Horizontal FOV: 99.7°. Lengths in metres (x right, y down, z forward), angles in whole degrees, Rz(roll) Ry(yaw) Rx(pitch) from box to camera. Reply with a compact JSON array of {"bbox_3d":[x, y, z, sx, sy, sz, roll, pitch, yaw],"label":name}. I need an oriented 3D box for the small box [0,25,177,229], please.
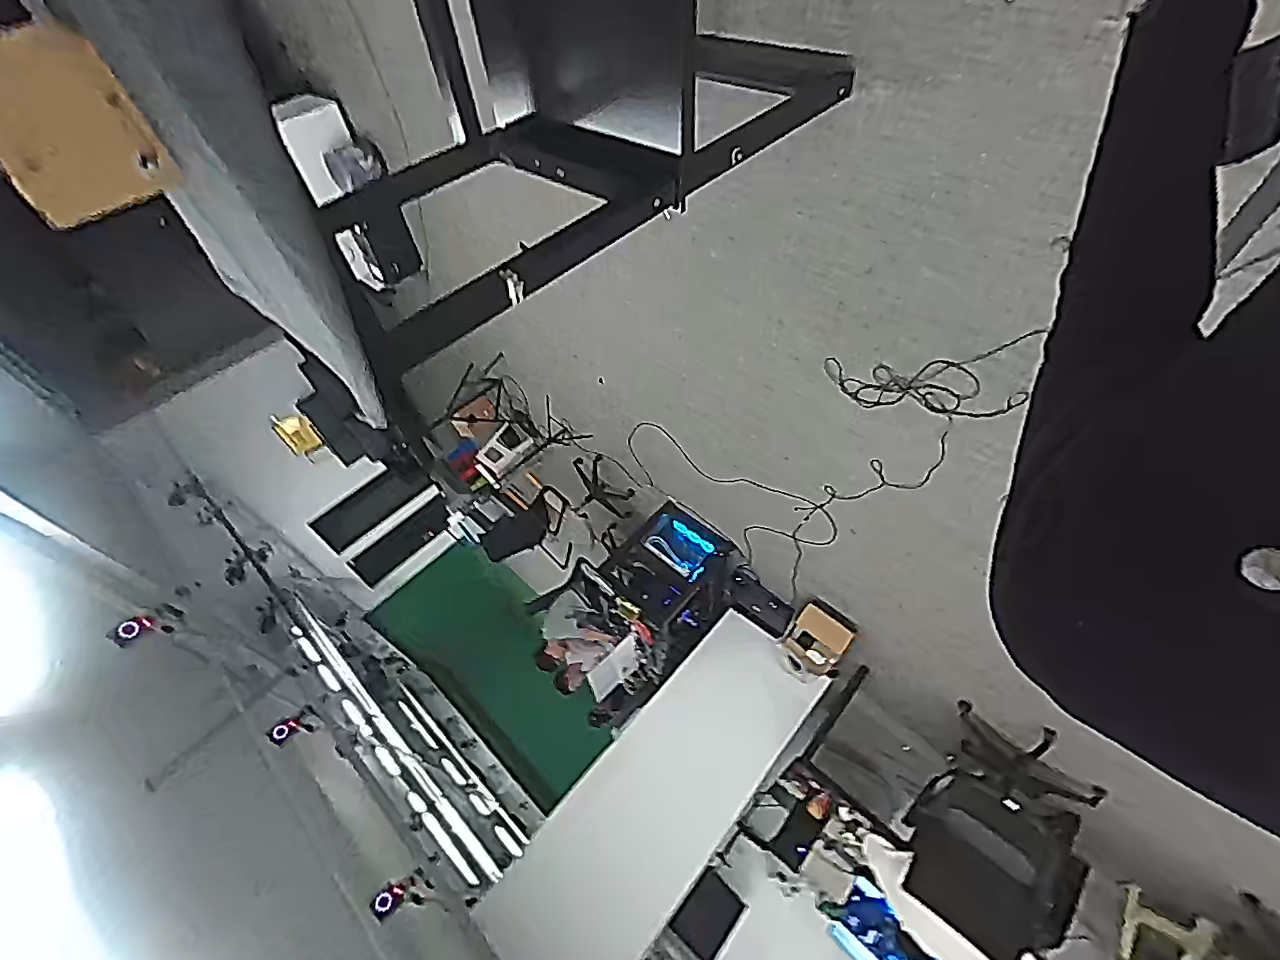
[{"bbox_3d":[-0.765,-0.465,0.706,0.179,0.176,0.168,35,152,27],"label":"small box"}]
